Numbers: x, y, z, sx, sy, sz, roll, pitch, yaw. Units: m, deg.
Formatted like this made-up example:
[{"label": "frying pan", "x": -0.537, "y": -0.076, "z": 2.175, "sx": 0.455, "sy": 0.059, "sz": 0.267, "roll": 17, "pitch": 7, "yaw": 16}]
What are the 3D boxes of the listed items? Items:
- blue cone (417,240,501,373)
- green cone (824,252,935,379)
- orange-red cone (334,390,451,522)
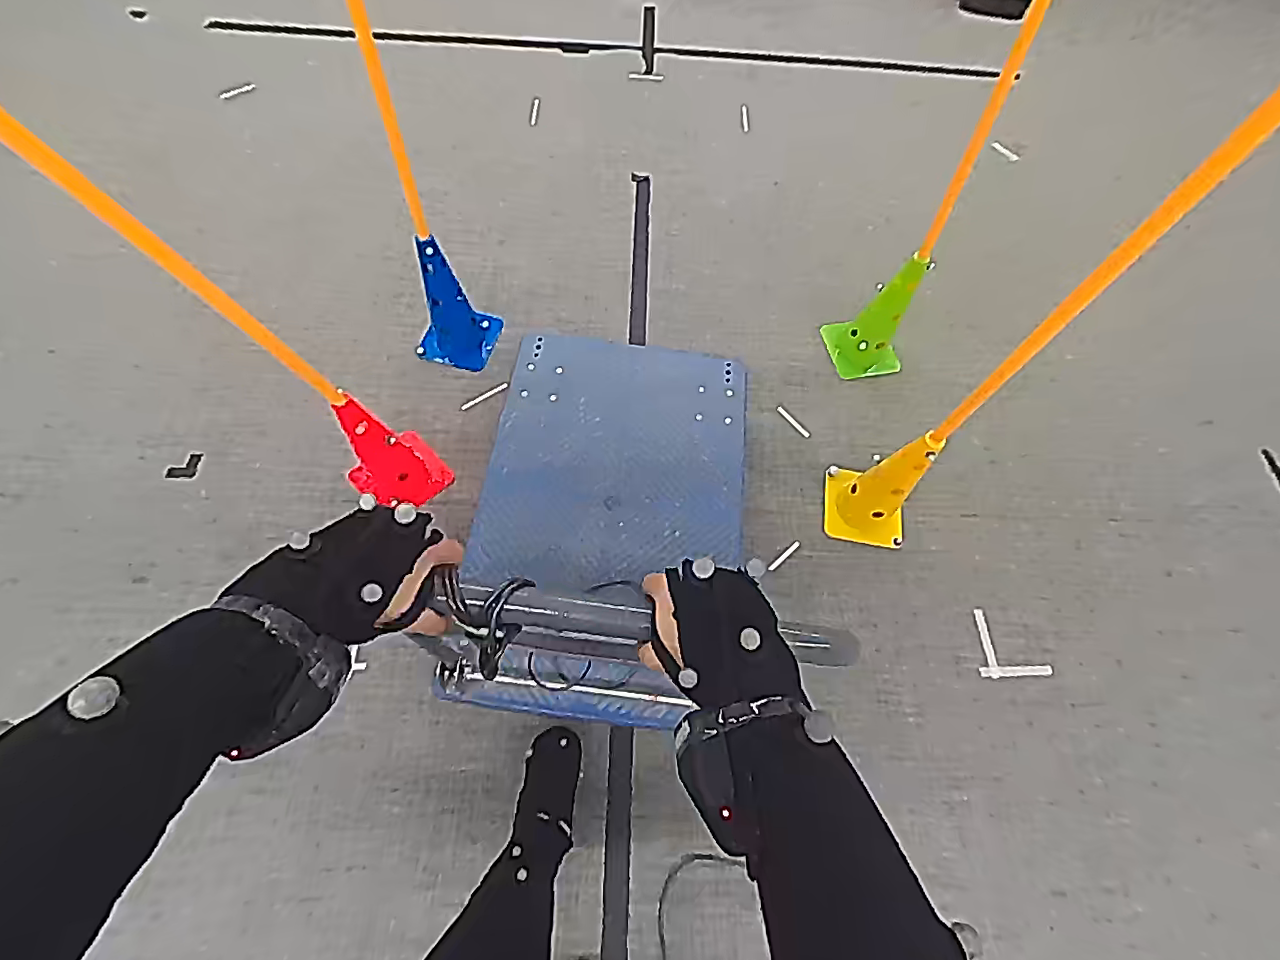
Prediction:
[{"label": "blue cone", "x": -0.503, "y": -0.471, "z": 1.411, "sx": 0.193, "sy": 0.380, "sz": 0.192, "roll": 16, "pitch": 66, "yaw": 4}, {"label": "green cone", "x": 0.677, "y": -0.466, "z": 1.466, "sx": 0.200, "sy": 0.368, "sz": 0.202, "roll": -10, "pitch": 67, "yaw": -8}, {"label": "orange-red cone", "x": -0.590, "y": -0.086, "z": 1.208, "sx": 0.199, "sy": 0.360, "sz": 0.198, "roll": -39, "pitch": 74, "yaw": -21}]
